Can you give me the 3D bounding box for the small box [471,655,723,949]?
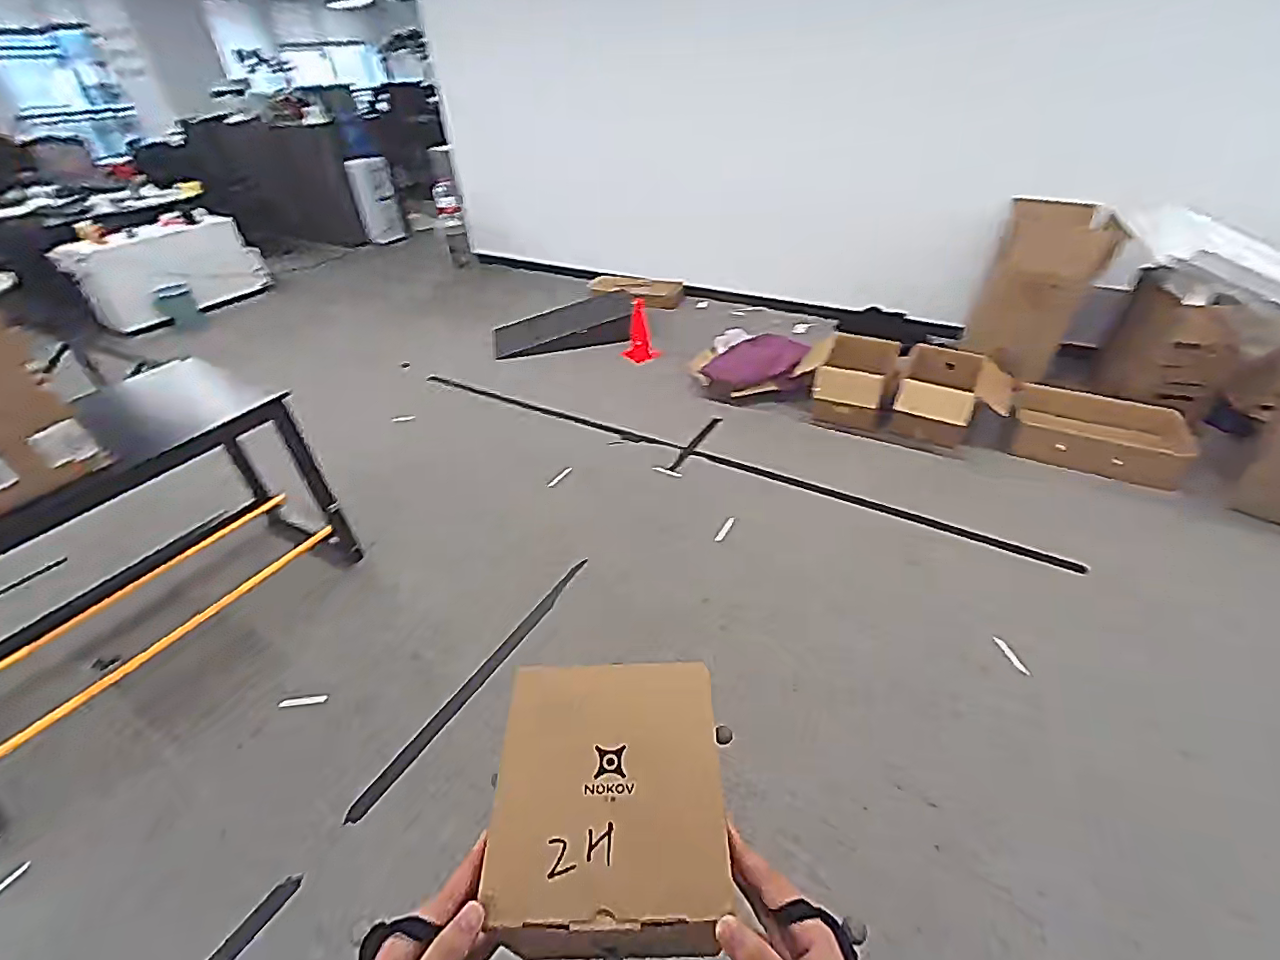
[{"bbox_3d":[-0.026,0.270,0.458,0.168,0.176,0.179,-3,43,1],"label":"small box"}]
